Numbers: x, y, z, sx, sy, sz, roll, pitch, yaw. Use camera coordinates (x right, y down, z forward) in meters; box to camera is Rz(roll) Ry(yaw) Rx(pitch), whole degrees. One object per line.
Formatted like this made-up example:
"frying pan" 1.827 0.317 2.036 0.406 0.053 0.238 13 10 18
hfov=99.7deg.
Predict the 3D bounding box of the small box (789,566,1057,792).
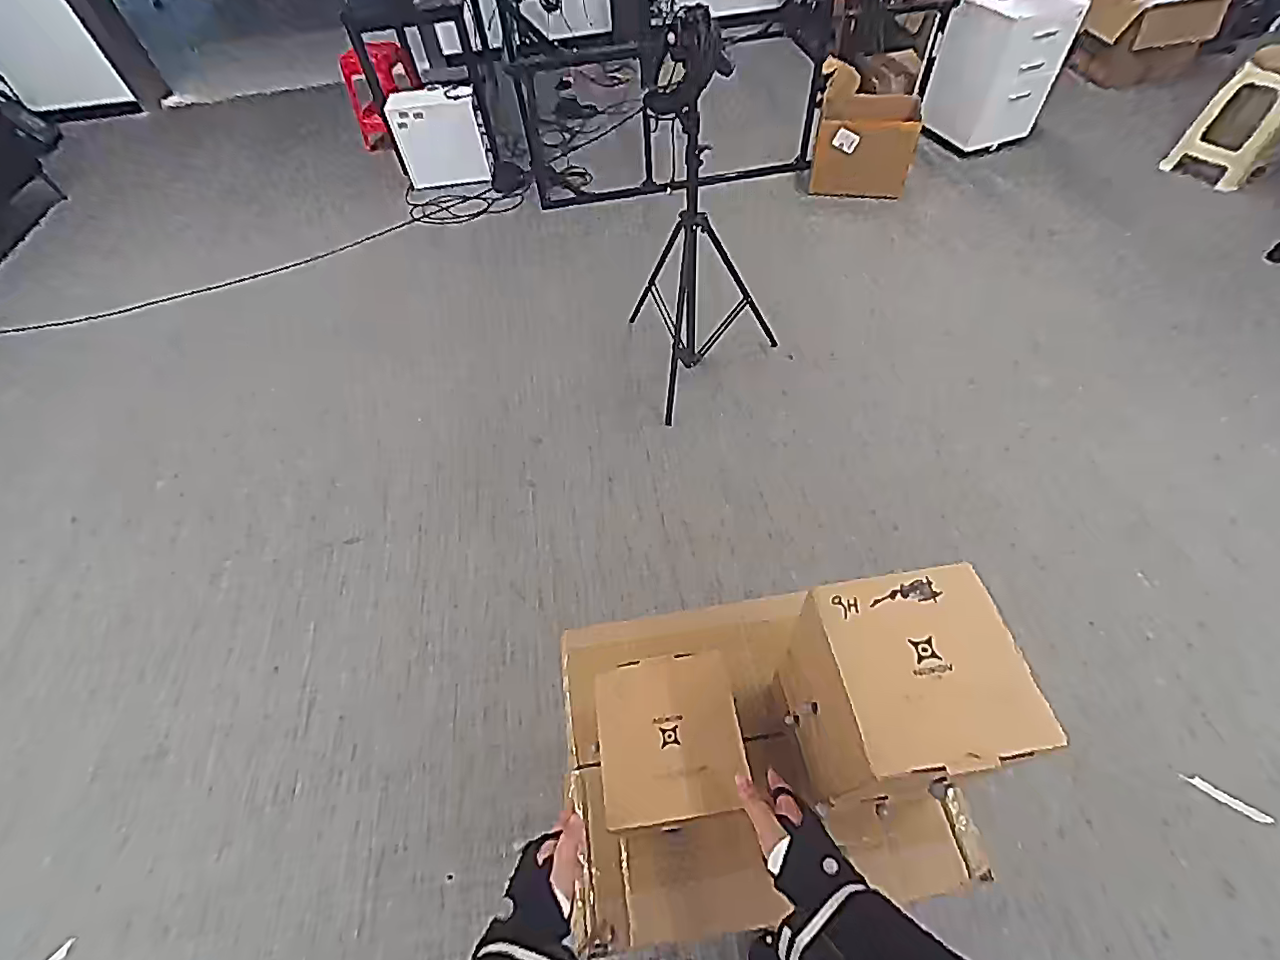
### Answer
"small box" 0.266 0.214 0.562 0.168 0.176 0.179 -9 54 0

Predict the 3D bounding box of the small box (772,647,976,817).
"small box" 0.276 0.313 0.692 0.168 0.176 0.179 -10 54 0

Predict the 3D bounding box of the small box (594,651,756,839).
"small box" 0.038 0.342 0.694 0.168 0.176 0.179 -10 55 -2
